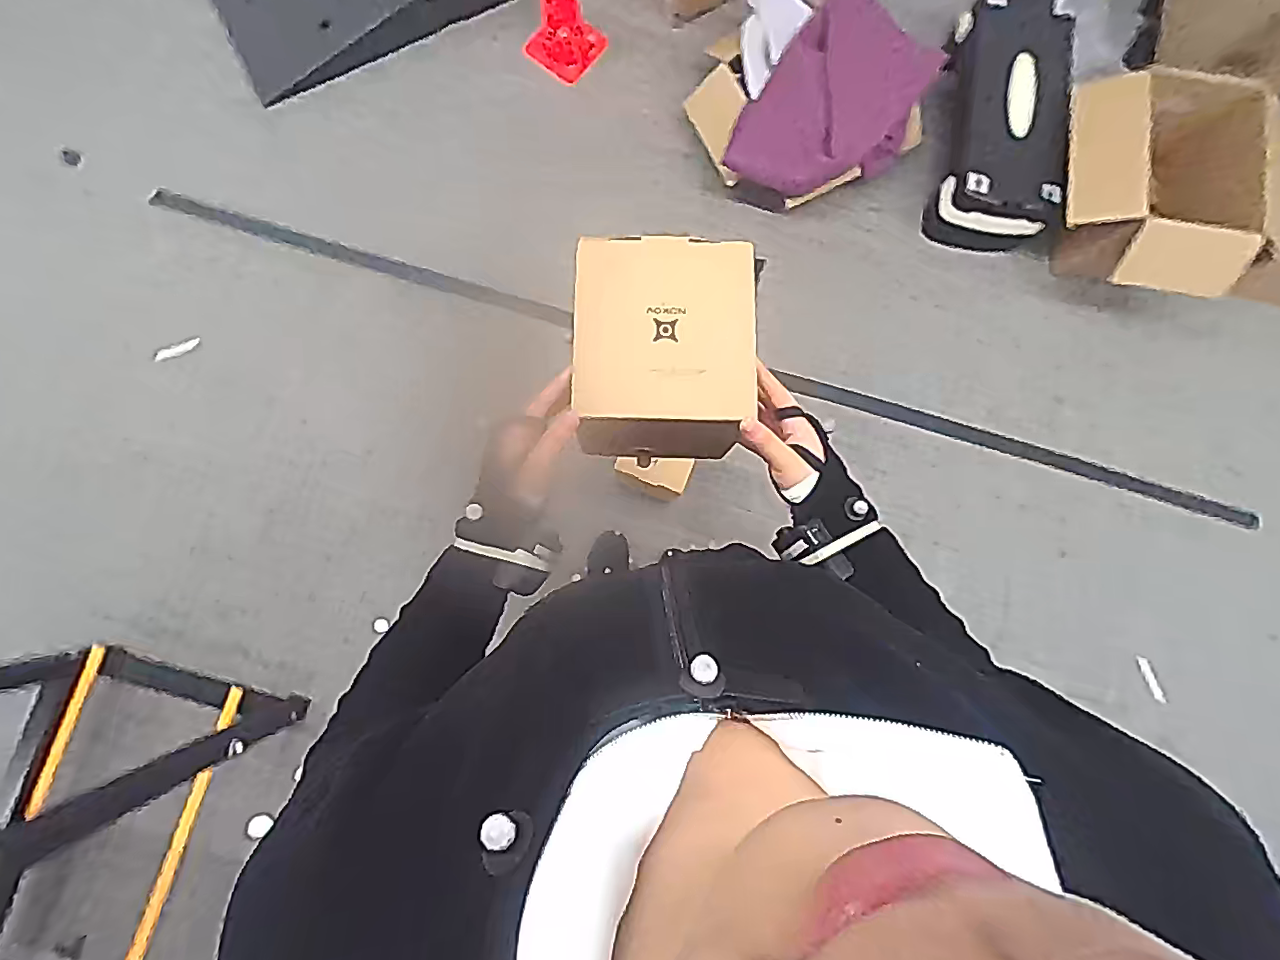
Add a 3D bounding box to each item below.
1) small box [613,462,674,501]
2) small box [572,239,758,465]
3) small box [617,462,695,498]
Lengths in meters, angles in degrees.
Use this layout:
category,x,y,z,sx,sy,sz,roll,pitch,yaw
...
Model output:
category,x,y,z,sx,sy,sz,roll,pitch,yaw
small box,0.039,-0.048,1.455,0.179,0.176,0.168,21,84,1
small box,0.020,-0.120,0.562,0.168,0.176,0.179,0,80,-2
small box,0.051,-0.068,1.291,0.168,0.176,0.179,21,84,2
